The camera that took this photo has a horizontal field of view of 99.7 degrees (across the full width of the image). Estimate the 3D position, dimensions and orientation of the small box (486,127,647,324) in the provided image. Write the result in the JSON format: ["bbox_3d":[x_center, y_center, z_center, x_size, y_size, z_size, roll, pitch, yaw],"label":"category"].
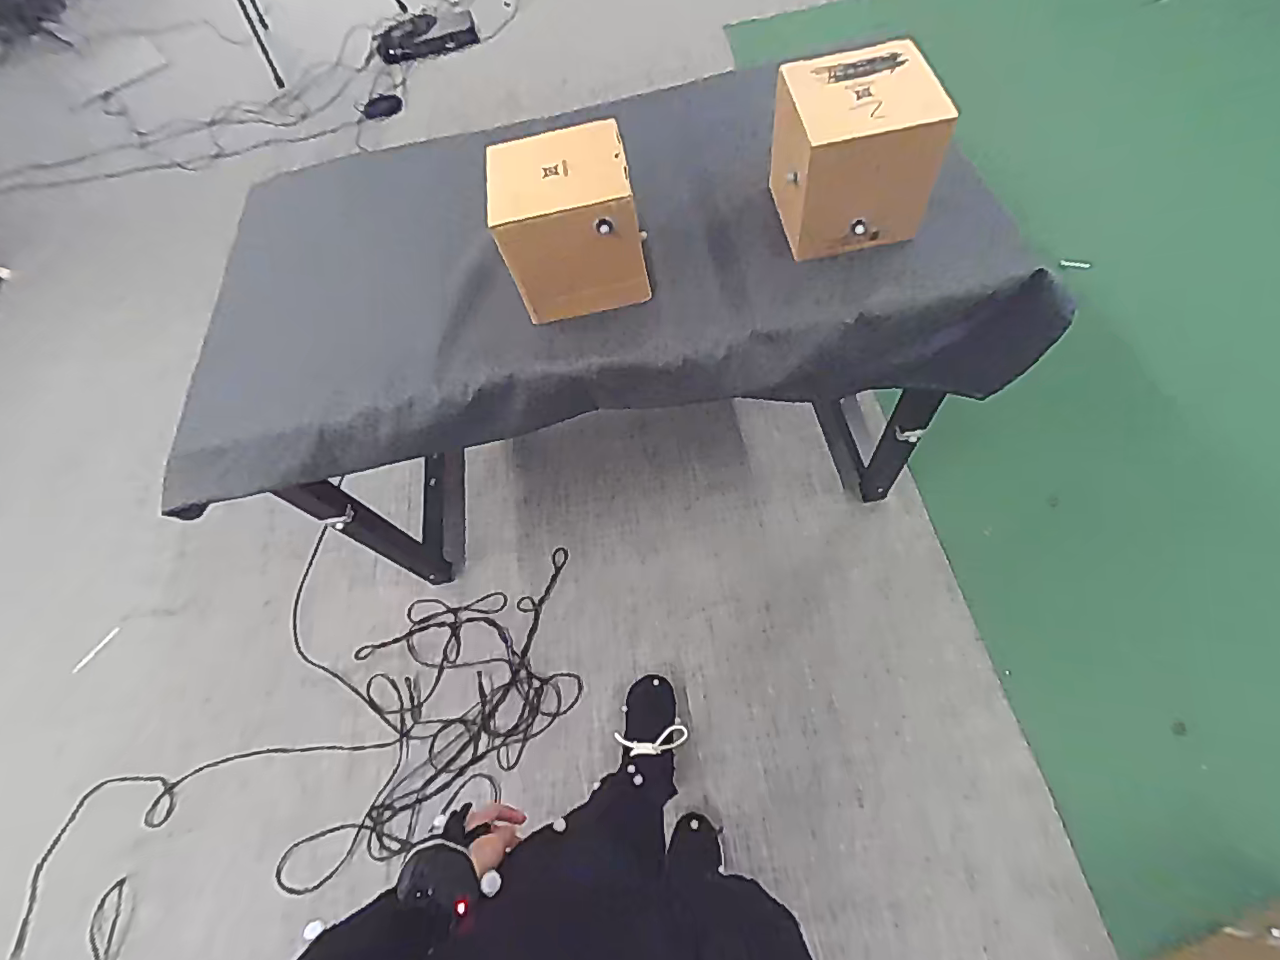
[{"bbox_3d":[-0.095,-0.338,0.740,0.179,0.176,0.168,-11,61,2],"label":"small box"}]
